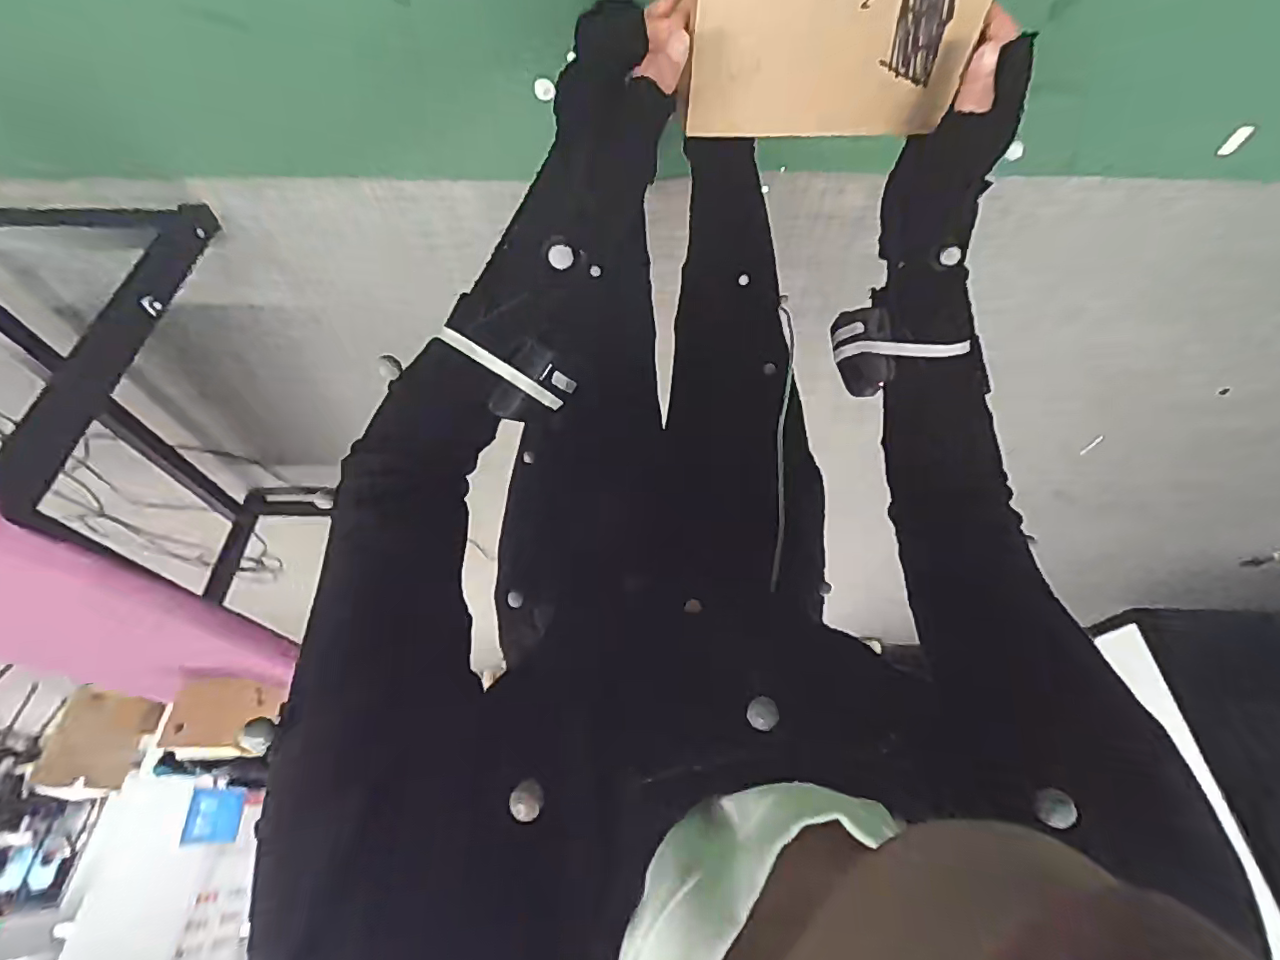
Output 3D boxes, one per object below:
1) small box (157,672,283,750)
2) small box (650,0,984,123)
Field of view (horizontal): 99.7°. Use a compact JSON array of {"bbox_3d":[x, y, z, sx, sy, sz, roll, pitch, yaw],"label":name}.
[{"bbox_3d":[-1.101,0.613,1.434,0.179,0.176,0.168,-2,148,5],"label":"small box"},{"bbox_3d":[0.106,-0.347,0.332,0.179,0.176,0.168,-2,144,-6],"label":"small box"}]
